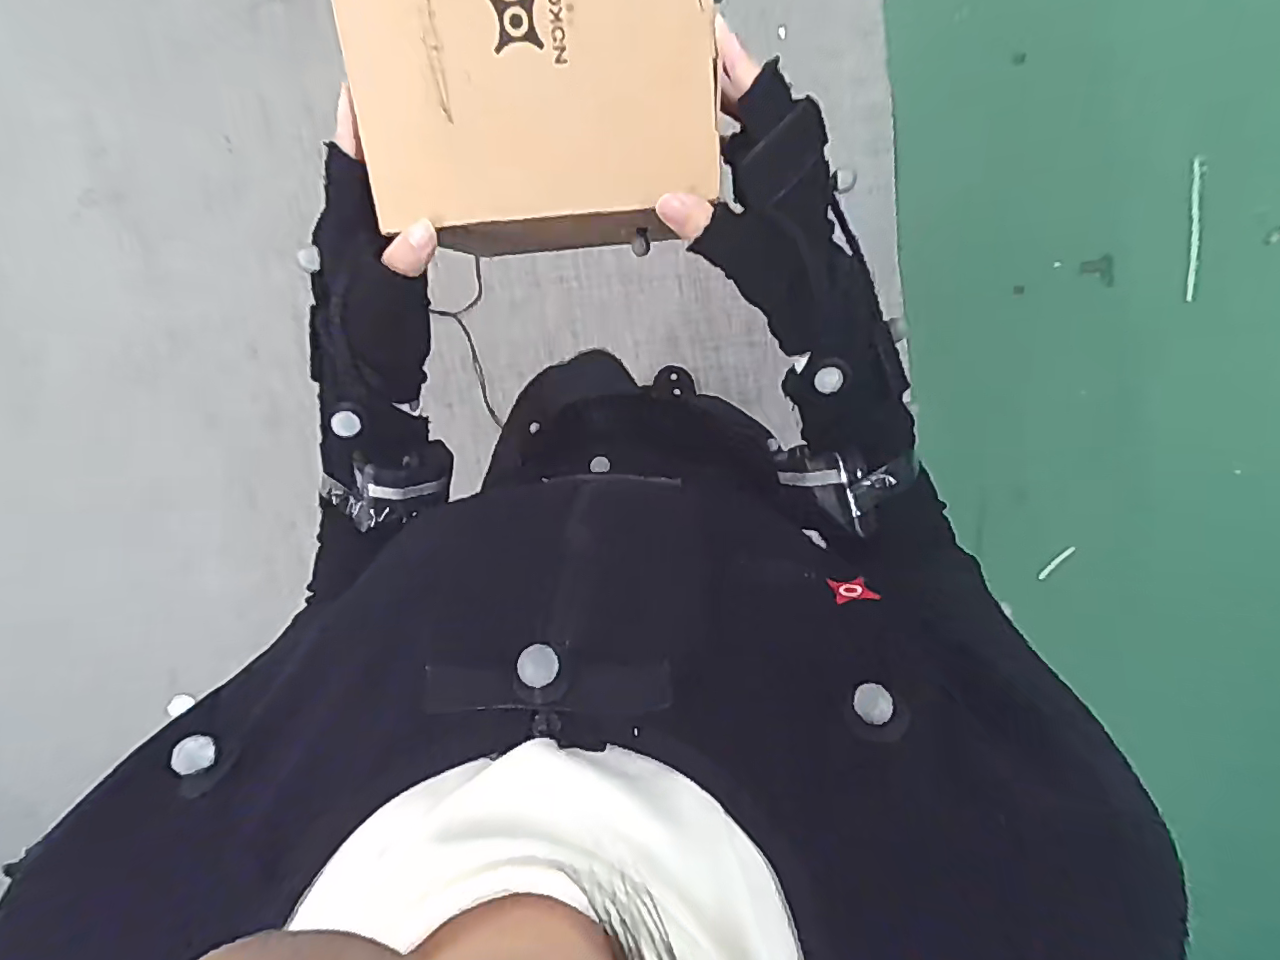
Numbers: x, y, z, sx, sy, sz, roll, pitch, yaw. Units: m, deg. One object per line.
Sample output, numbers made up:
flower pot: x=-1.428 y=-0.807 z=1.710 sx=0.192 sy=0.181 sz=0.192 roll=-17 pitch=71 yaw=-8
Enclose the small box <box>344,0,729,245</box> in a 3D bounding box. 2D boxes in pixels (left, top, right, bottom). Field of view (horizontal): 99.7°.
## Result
small box: x=-0.047 y=-0.245 z=0.324 sx=0.179 sy=0.176 sz=0.168 roll=-5 pitch=107 yaw=5
